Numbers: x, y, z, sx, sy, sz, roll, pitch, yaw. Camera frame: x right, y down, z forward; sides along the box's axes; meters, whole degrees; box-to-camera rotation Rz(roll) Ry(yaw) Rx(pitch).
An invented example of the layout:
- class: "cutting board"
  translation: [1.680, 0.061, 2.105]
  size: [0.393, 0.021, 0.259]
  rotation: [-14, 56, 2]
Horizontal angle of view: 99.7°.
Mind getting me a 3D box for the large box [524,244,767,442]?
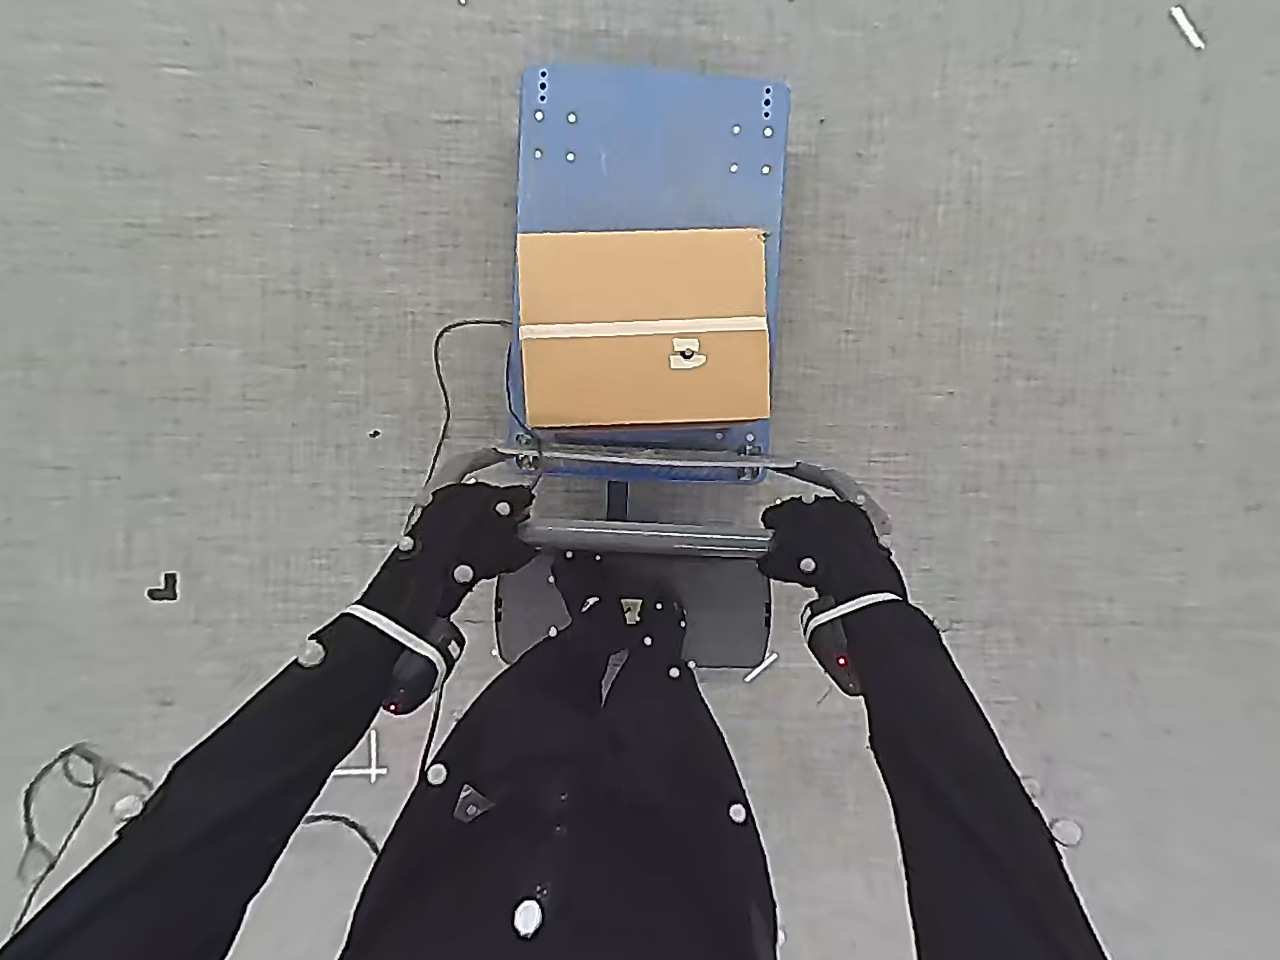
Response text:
- class: "large box"
  translation: [0.003, -0.241, 1.057]
  size: [0.408, 0.320, 0.320]
  rotation: [-2, 93, -3]
